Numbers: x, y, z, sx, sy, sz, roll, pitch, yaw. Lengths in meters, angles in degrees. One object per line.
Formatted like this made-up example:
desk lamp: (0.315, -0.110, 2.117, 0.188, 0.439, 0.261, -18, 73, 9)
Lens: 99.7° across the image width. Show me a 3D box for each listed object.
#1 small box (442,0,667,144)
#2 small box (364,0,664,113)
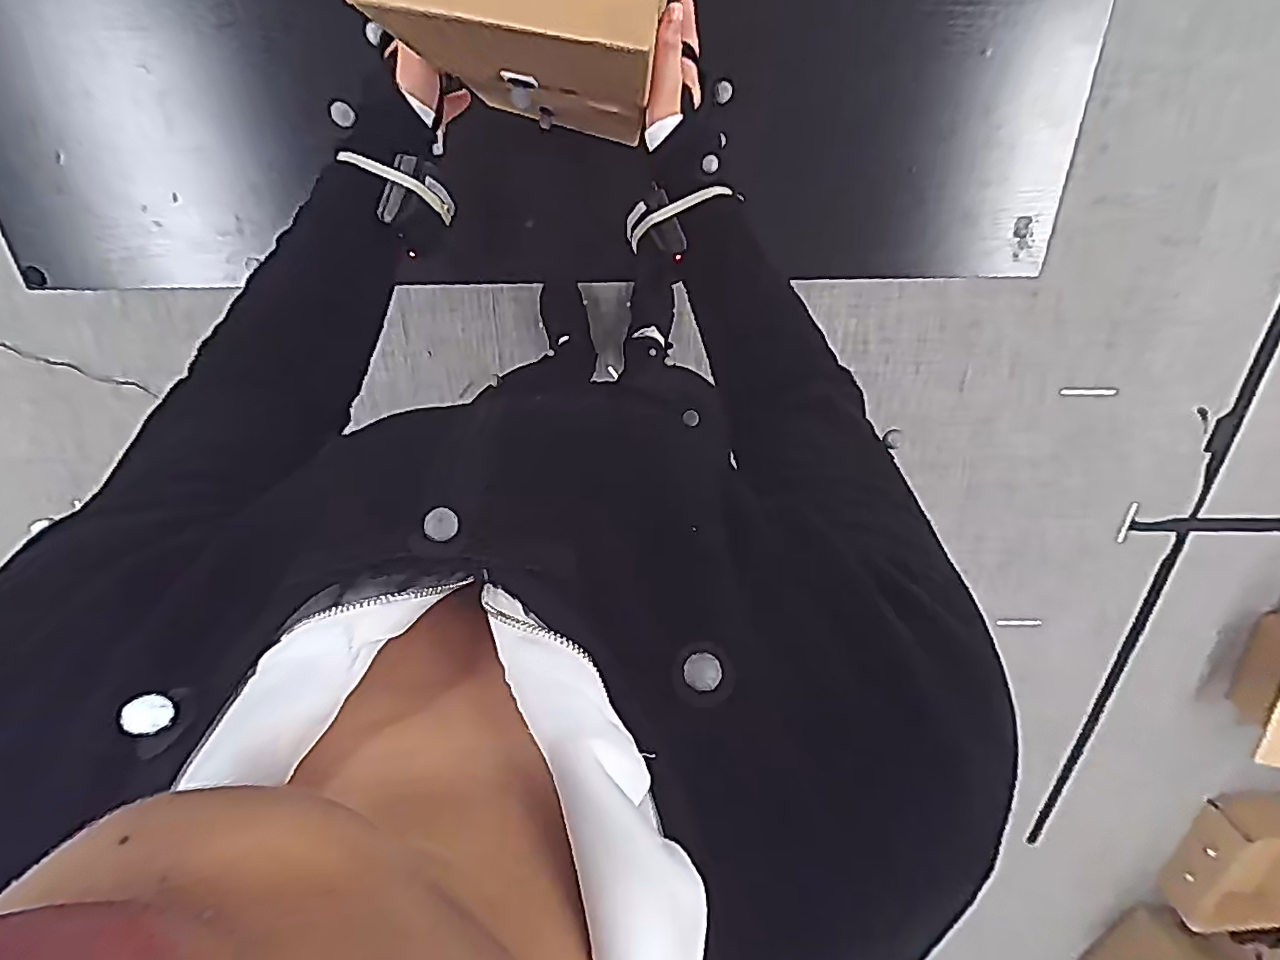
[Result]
small box: (-0.063, -0.426, 0.483, 0.168, 0.176, 0.179, 12, 113, -7)
small box: (-0.061, -0.357, 0.336, 0.168, 0.176, 0.179, 7, 115, -4)
